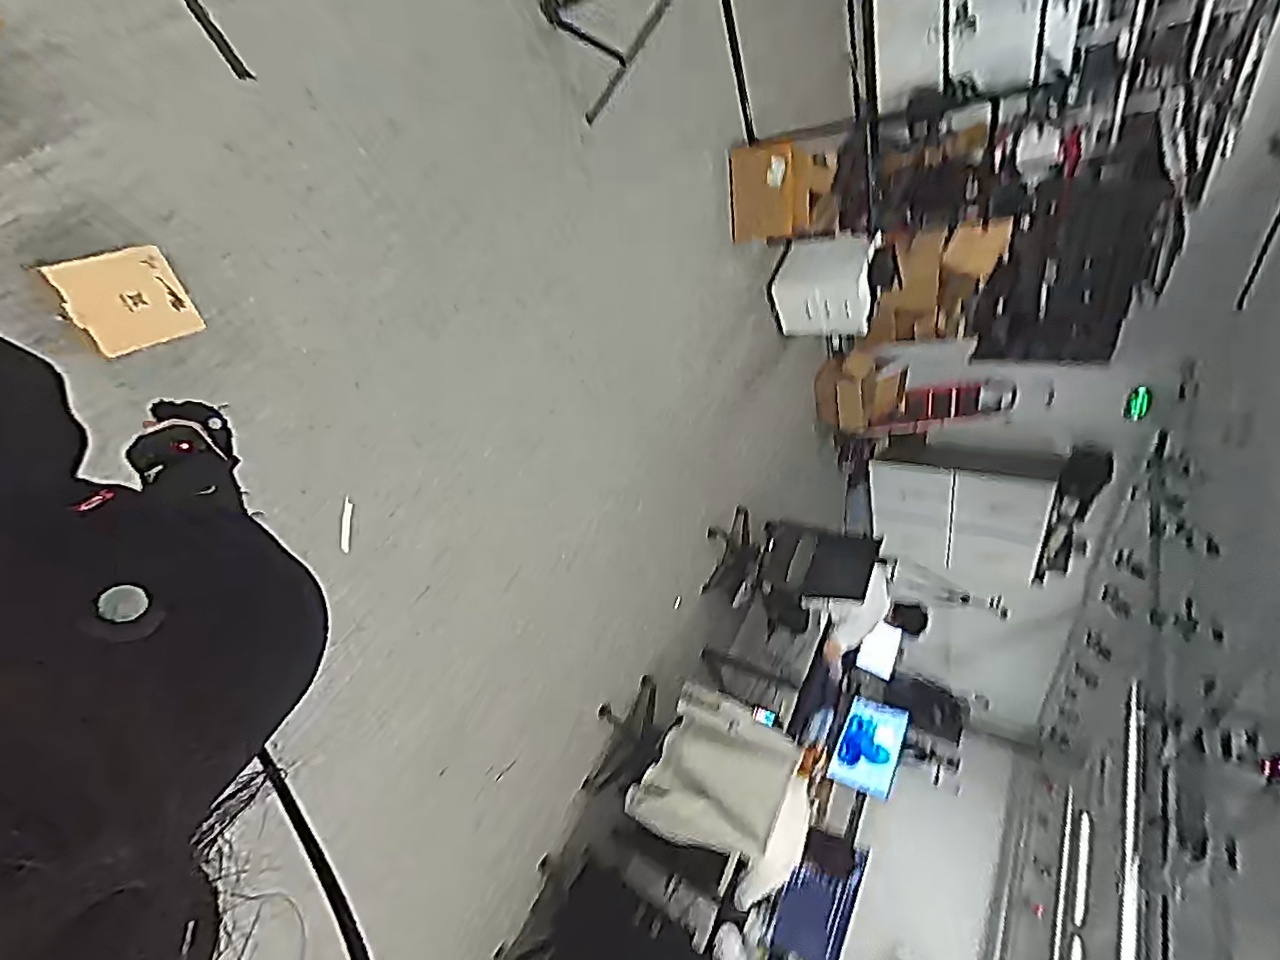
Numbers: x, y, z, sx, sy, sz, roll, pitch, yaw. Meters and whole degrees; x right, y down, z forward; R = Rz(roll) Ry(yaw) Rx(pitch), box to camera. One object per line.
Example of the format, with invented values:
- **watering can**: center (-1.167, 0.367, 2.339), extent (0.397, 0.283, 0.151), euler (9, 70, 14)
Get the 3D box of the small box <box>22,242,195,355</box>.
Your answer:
- **small box**: center (-1.021, -0.347, 1.038), extent (0.179, 0.176, 0.168), euler (-42, 132, -41)
